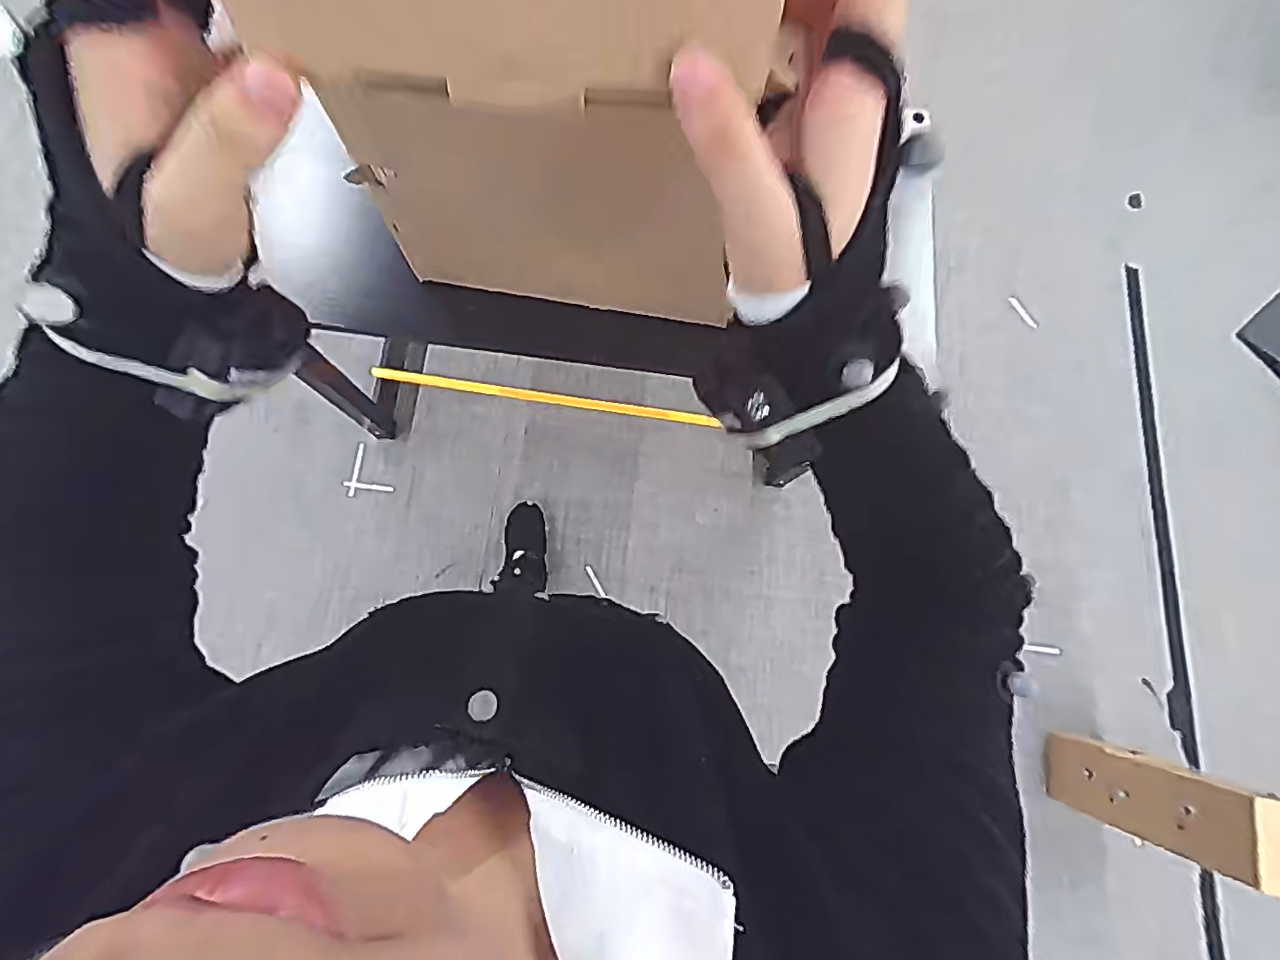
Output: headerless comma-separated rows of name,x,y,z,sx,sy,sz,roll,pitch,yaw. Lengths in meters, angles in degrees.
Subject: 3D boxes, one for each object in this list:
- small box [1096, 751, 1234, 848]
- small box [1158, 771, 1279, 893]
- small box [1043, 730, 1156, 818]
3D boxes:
small box,1.224,0.752,1.264,0.179,0.176,0.168,11,77,-2
small box,1.225,0.715,1.105,0.179,0.176,0.168,11,76,-2
small box,1.206,0.779,1.426,0.168,0.176,0.179,11,77,-2
